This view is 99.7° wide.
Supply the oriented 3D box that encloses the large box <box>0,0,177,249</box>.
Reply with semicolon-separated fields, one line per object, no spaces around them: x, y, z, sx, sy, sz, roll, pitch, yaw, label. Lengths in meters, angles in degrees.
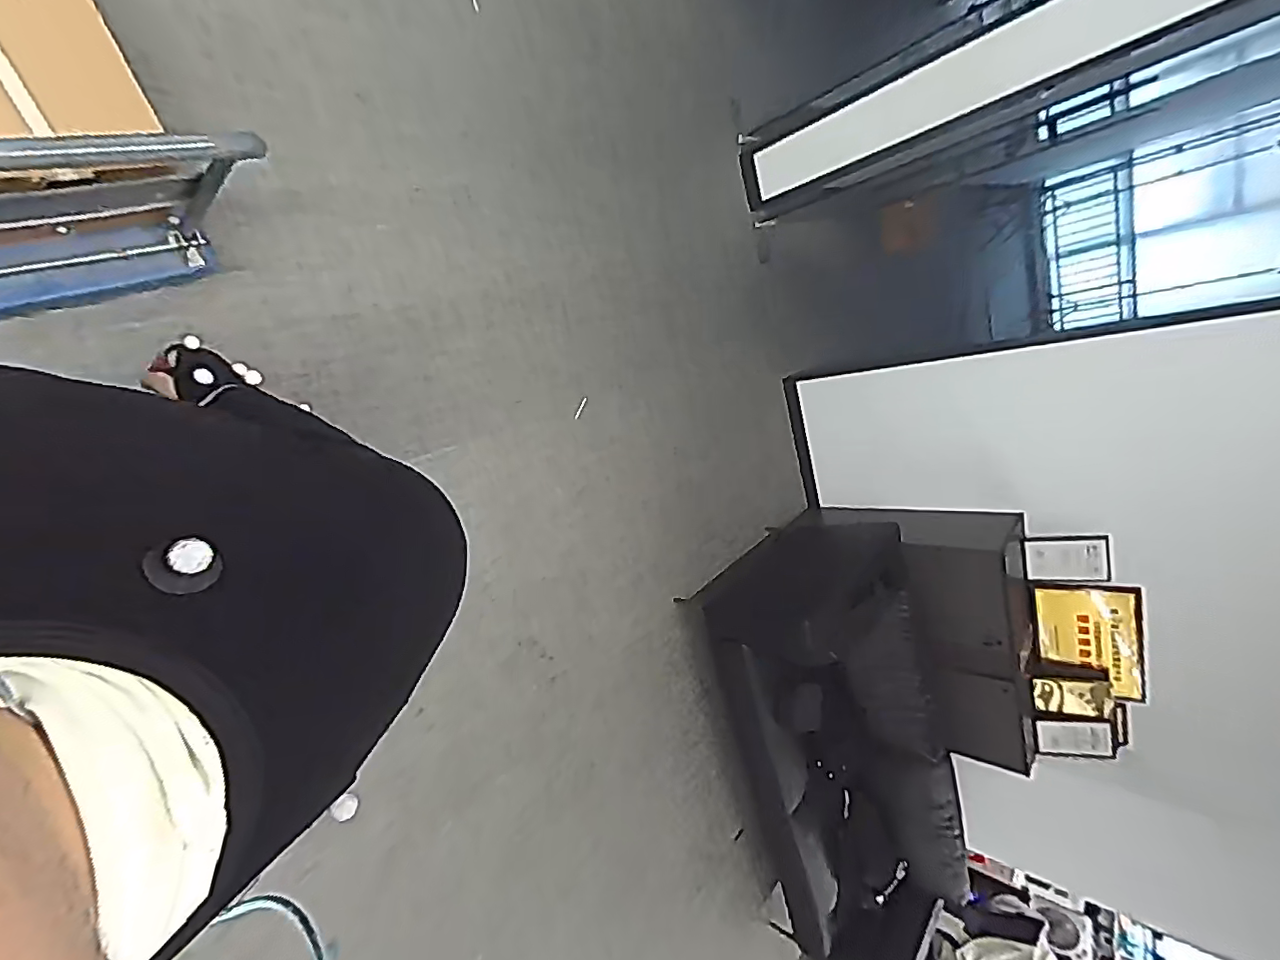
-1.052;-0.643;0.872;0.320;0.320;0.408;-36;114;-39;large box
